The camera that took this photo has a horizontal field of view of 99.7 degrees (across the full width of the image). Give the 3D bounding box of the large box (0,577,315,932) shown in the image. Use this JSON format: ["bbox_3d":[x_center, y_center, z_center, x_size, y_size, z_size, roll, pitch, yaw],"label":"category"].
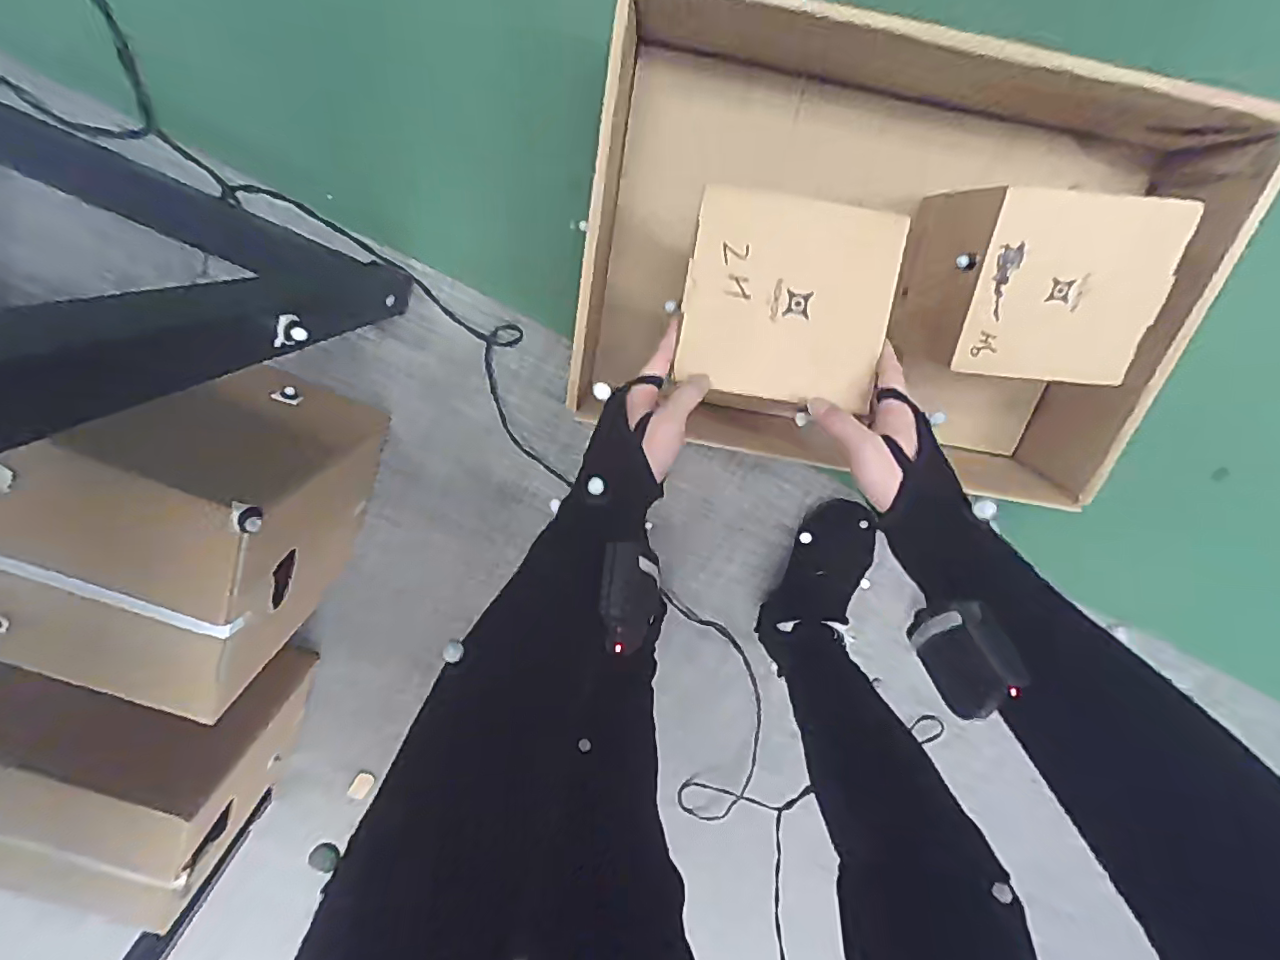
[{"bbox_3d":[-0.826,0.423,0.869,0.408,0.320,0.320,25,112,-8],"label":"large box"}]

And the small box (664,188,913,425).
[{"bbox_3d":[0.123,-0.151,0.521,0.179,0.176,0.168,10,97,1],"label":"small box"}]
